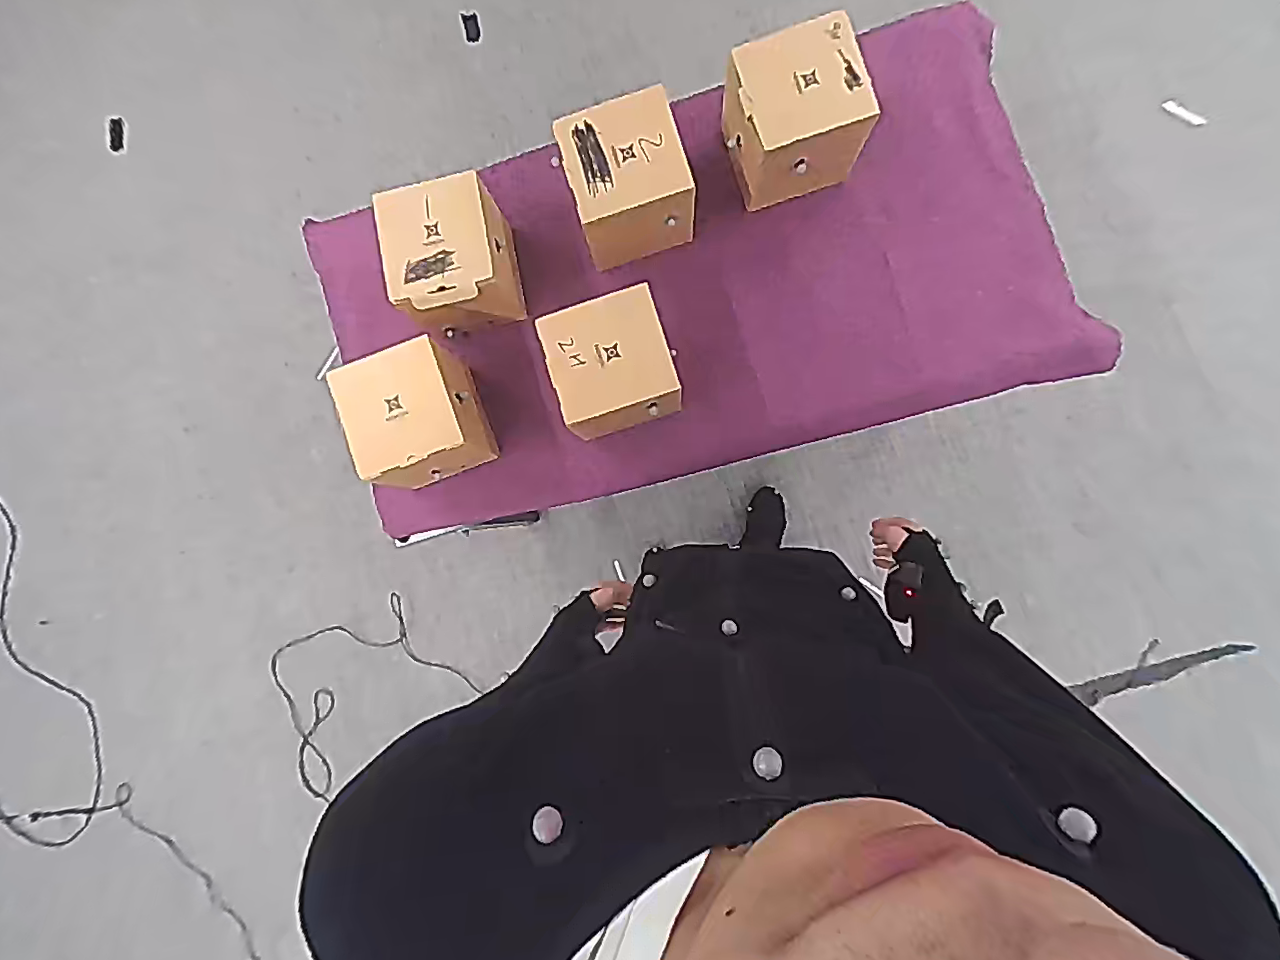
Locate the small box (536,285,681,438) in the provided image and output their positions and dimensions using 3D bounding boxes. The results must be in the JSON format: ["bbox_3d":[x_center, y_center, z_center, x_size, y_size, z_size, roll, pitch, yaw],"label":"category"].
[{"bbox_3d":[-0.041,-0.175,0.850,0.179,0.176,0.168,-17,86,3],"label":"small box"}]

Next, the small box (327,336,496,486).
[{"bbox_3d":[-0.354,-0.100,0.867,0.168,0.176,0.179,-21,86,1],"label":"small box"}]

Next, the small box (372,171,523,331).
[{"bbox_3d":[-0.301,-0.355,0.880,0.168,0.176,0.179,-12,86,3],"label":"small box"}]
